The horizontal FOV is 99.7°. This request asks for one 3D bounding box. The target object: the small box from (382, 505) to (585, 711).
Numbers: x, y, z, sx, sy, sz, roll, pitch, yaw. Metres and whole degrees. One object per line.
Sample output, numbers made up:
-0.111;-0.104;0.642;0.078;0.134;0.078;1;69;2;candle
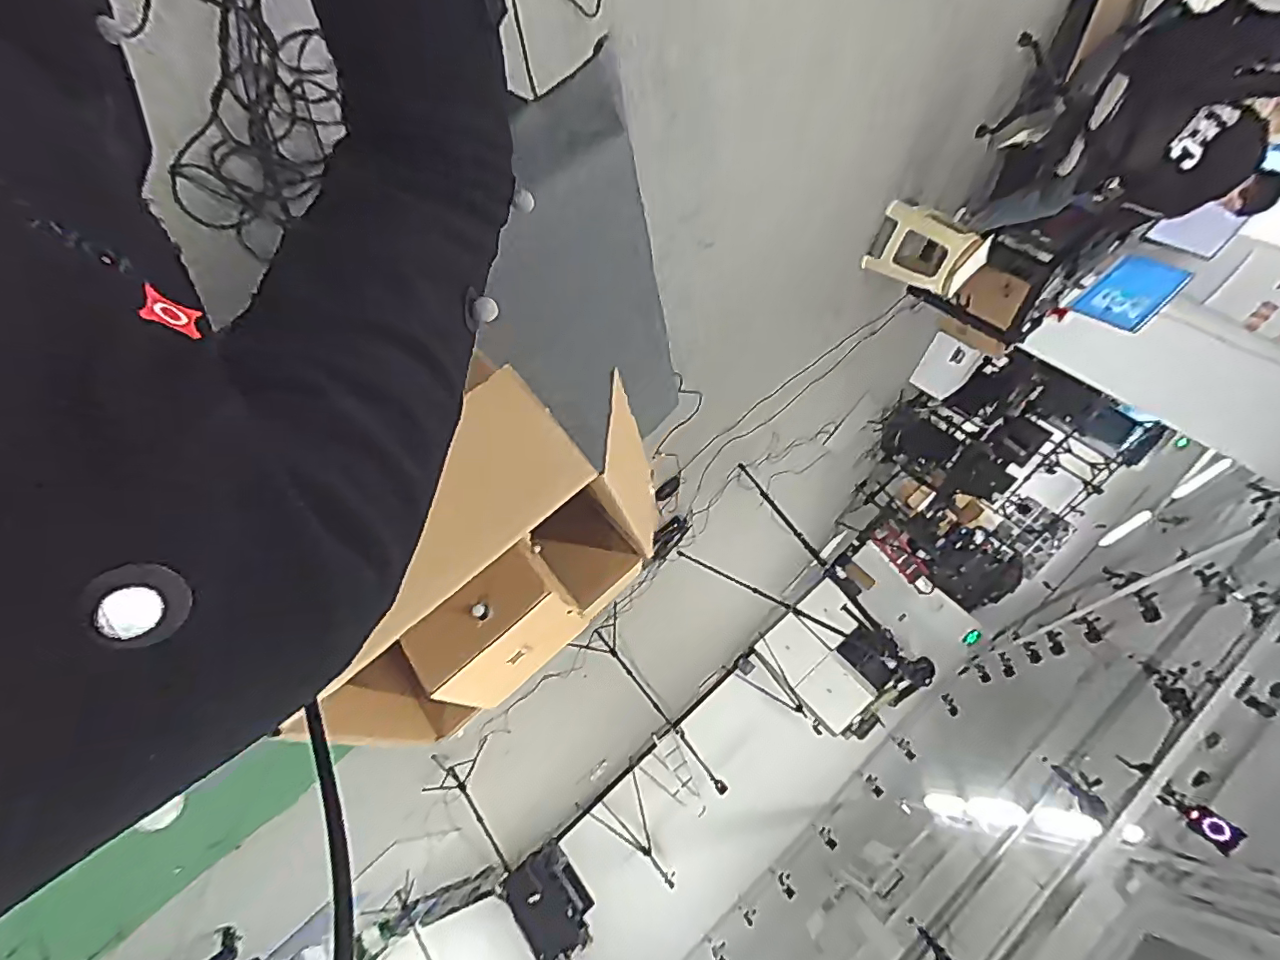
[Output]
-0.205;0.167;0.707;0.179;0.176;0.168;-40;152;-10;small box
